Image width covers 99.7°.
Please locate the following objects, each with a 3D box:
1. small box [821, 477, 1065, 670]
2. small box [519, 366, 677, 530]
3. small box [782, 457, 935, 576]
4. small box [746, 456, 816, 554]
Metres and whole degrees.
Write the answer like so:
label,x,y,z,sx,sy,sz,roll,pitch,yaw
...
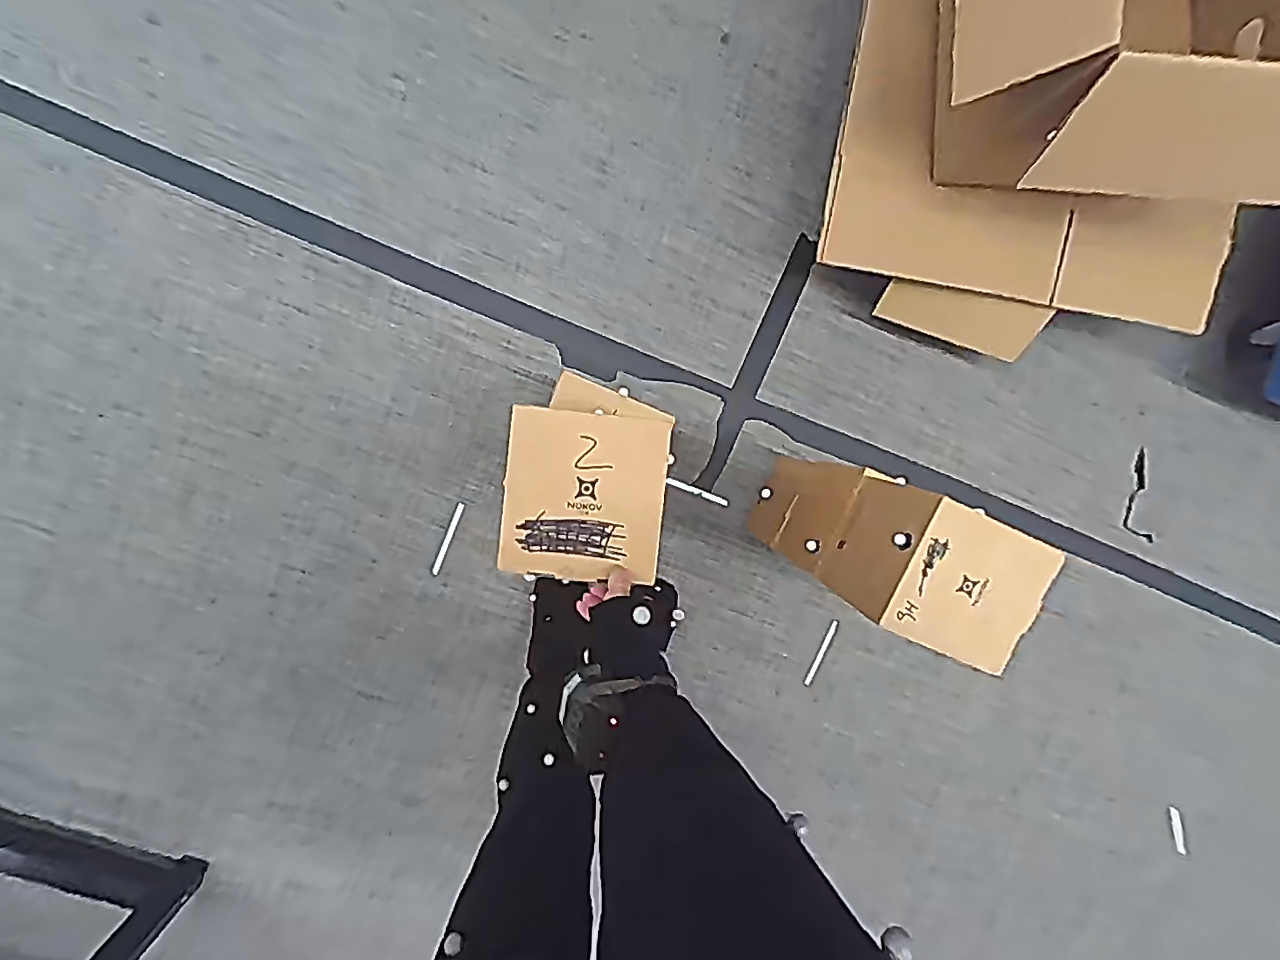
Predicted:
label,x,y,z,sx,sy,sz,roll,pitch,yaw
small box,0.373,0.108,0.697,0.179,0.176,0.168,24,96,-10
small box,-0.062,-0.048,0.800,0.168,0.176,0.179,22,93,-8
small box,0.350,0.073,0.856,0.168,0.176,0.179,22,96,-9
small box,0.330,0.063,1.017,0.179,0.176,0.168,26,94,-9
